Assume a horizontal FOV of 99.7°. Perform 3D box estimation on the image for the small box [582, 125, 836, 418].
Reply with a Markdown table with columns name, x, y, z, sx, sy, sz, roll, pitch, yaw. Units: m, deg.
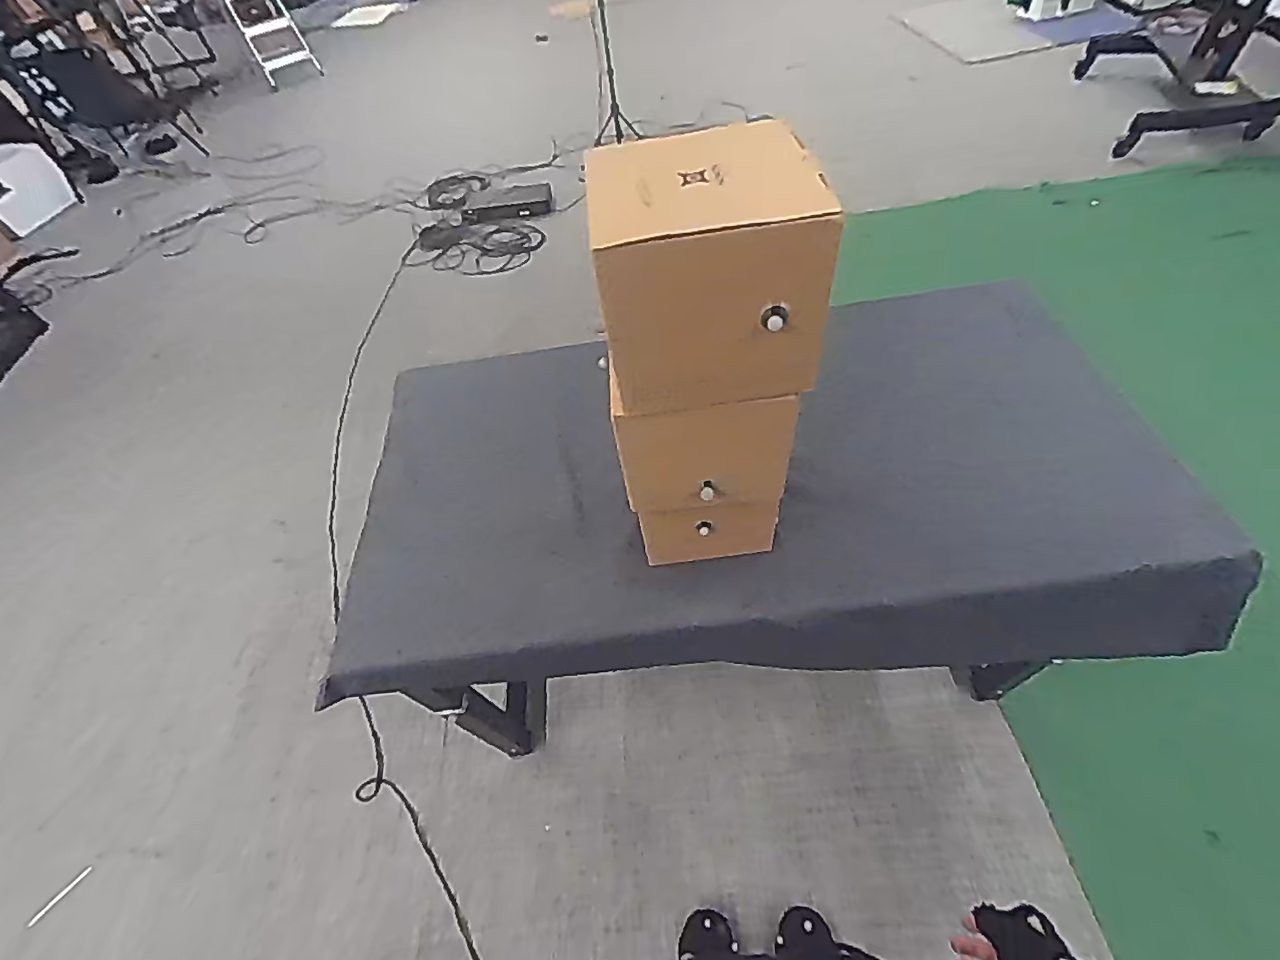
| name | x | y | z | sx | sy | sz | roll | pitch | yaw |
| --- | --- | --- | --- | --- | --- | --- | --- | --- | --- |
| small box | 0.051 | -0.177 | 0.480 | 0.179 | 0.176 | 0.168 | -9 | 52 | 3 |

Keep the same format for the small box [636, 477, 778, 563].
| name | x | y | z | sx | sy | sz | roll | pitch | yaw |
| --- | --- | --- | --- | --- | --- | --- | --- | --- | --- |
| small box | 0.081 | -0.001 | 0.752 | 0.179 | 0.176 | 0.168 | -8 | 53 | 3 |

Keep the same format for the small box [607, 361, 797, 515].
| name | x | y | z | sx | sy | sz | roll | pitch | yaw |
| --- | --- | --- | --- | --- | --- | --- | --- | --- | --- |
| small box | 0.062 | -0.079 | 0.612 | 0.179 | 0.176 | 0.168 | -9 | 54 | 2 |
